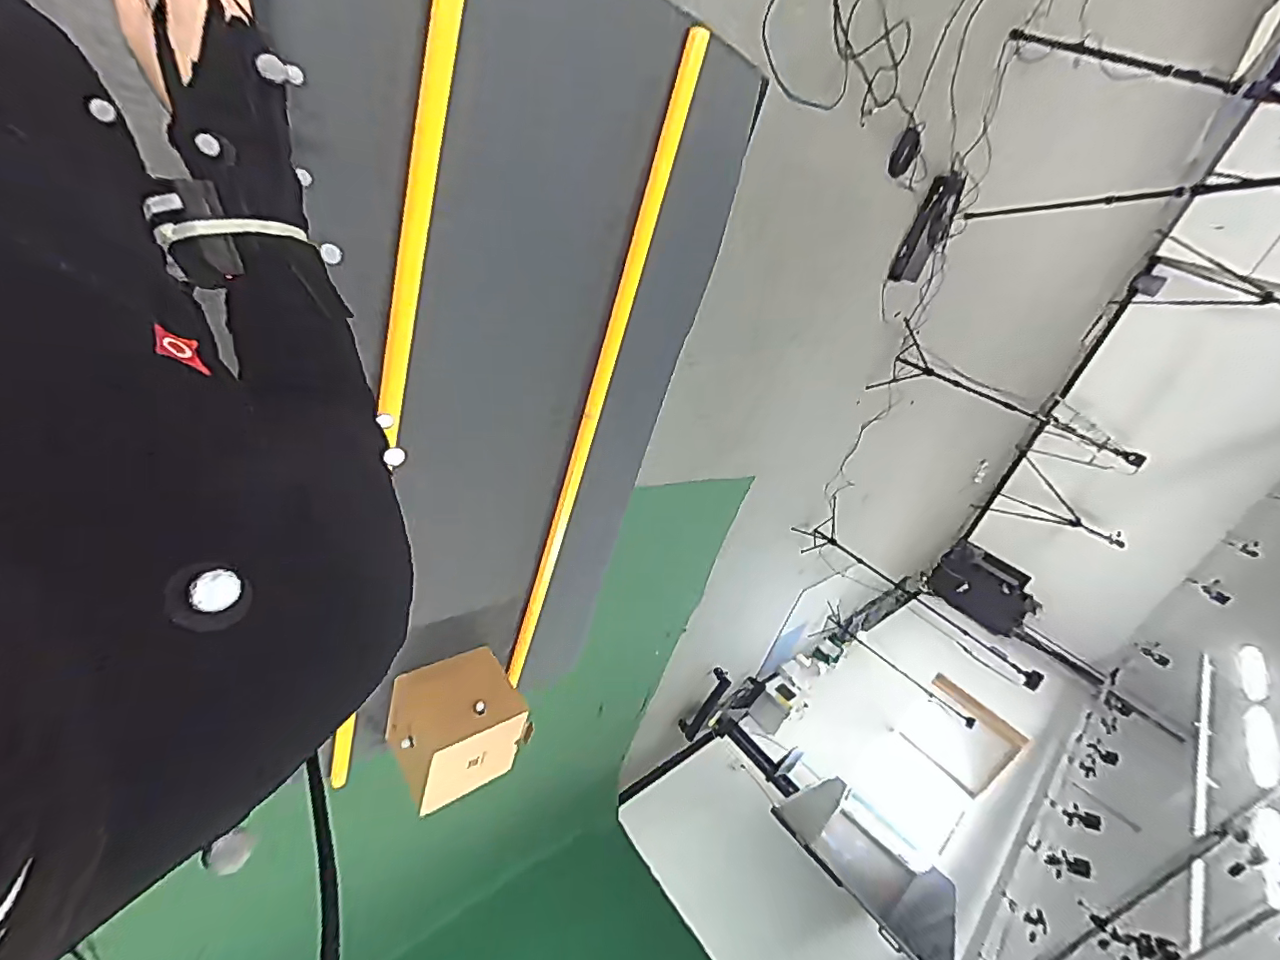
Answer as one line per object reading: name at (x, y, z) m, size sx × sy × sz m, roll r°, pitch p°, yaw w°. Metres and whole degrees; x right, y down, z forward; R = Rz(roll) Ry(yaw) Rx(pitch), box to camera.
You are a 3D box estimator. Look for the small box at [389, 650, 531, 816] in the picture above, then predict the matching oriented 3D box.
small box at (-0.326, 0.437, 0.962) m, size 0.179 × 0.176 × 0.168 m, roll -8°, pitch 125°, yaw -45°
